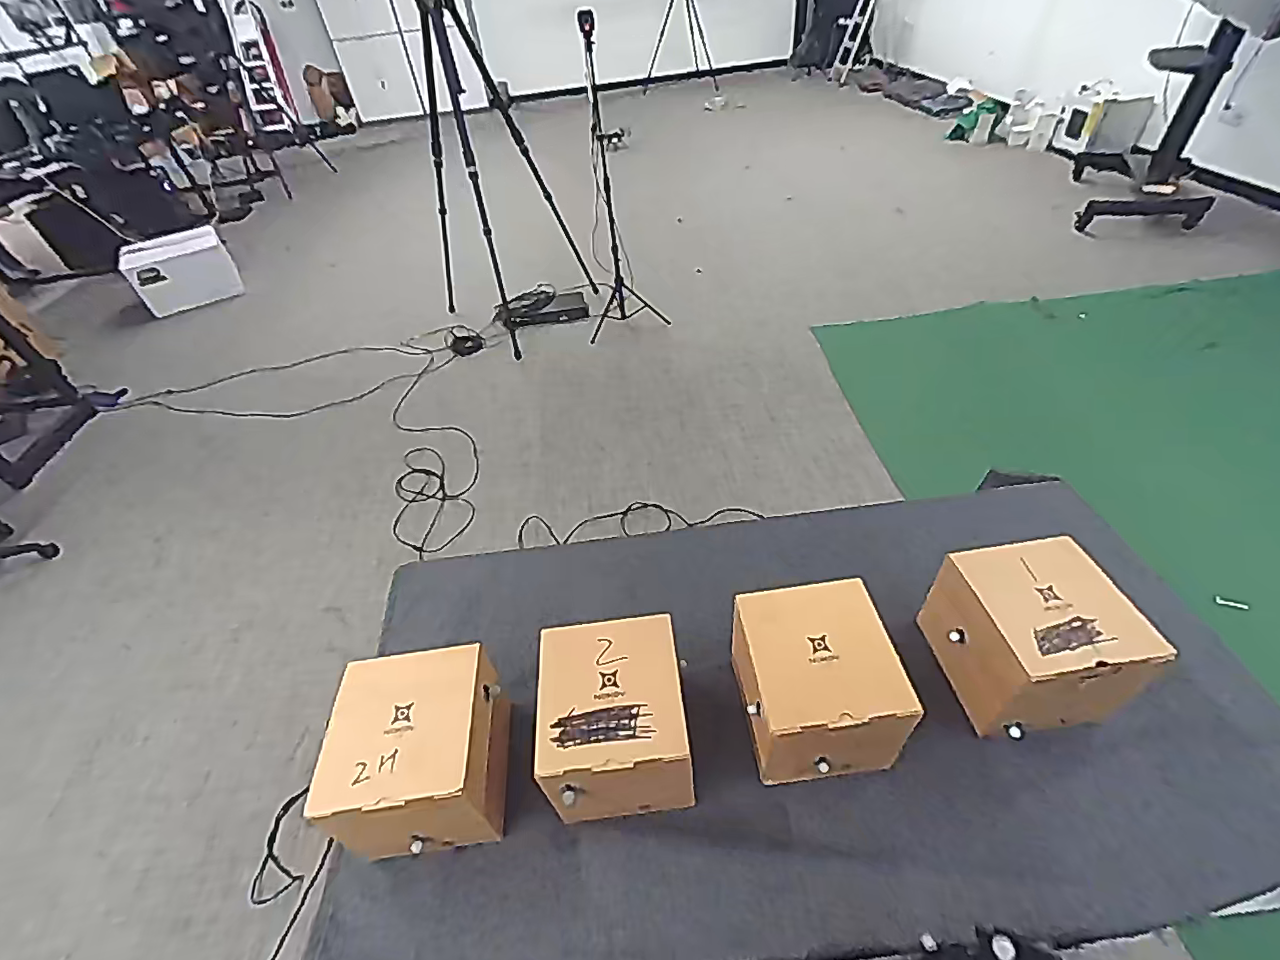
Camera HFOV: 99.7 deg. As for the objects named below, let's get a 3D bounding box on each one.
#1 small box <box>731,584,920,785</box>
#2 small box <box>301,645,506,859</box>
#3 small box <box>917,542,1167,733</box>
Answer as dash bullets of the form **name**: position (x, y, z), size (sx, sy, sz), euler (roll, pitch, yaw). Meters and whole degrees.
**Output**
- **small box**: position (0.215, 0.259, 0.687), size (0.168, 0.176, 0.179), euler (-7, 45, -1)
- **small box**: position (-0.266, 0.331, 0.661), size (0.168, 0.176, 0.179), euler (-7, 43, -2)
- **small box**: position (0.494, 0.209, 0.701), size (0.168, 0.176, 0.179), euler (-8, 43, -1)
